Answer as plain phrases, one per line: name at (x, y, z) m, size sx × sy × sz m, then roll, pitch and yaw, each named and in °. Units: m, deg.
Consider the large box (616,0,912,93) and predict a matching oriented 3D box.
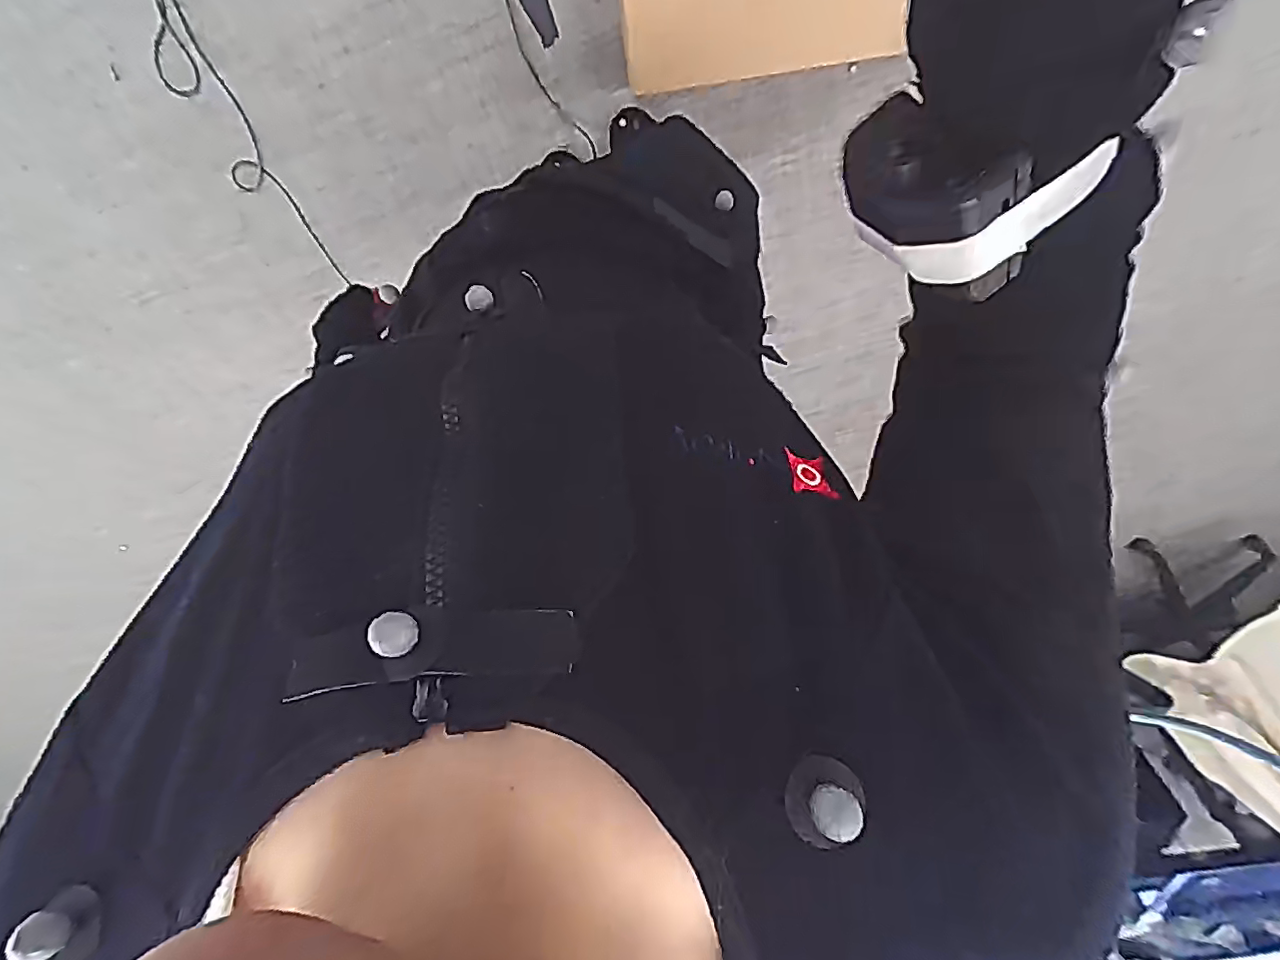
large box at (0.157, -0.801, 0.799) m, size 0.408 × 0.320 × 0.320 m, roll -7°, pitch 127°, yaw 3°
